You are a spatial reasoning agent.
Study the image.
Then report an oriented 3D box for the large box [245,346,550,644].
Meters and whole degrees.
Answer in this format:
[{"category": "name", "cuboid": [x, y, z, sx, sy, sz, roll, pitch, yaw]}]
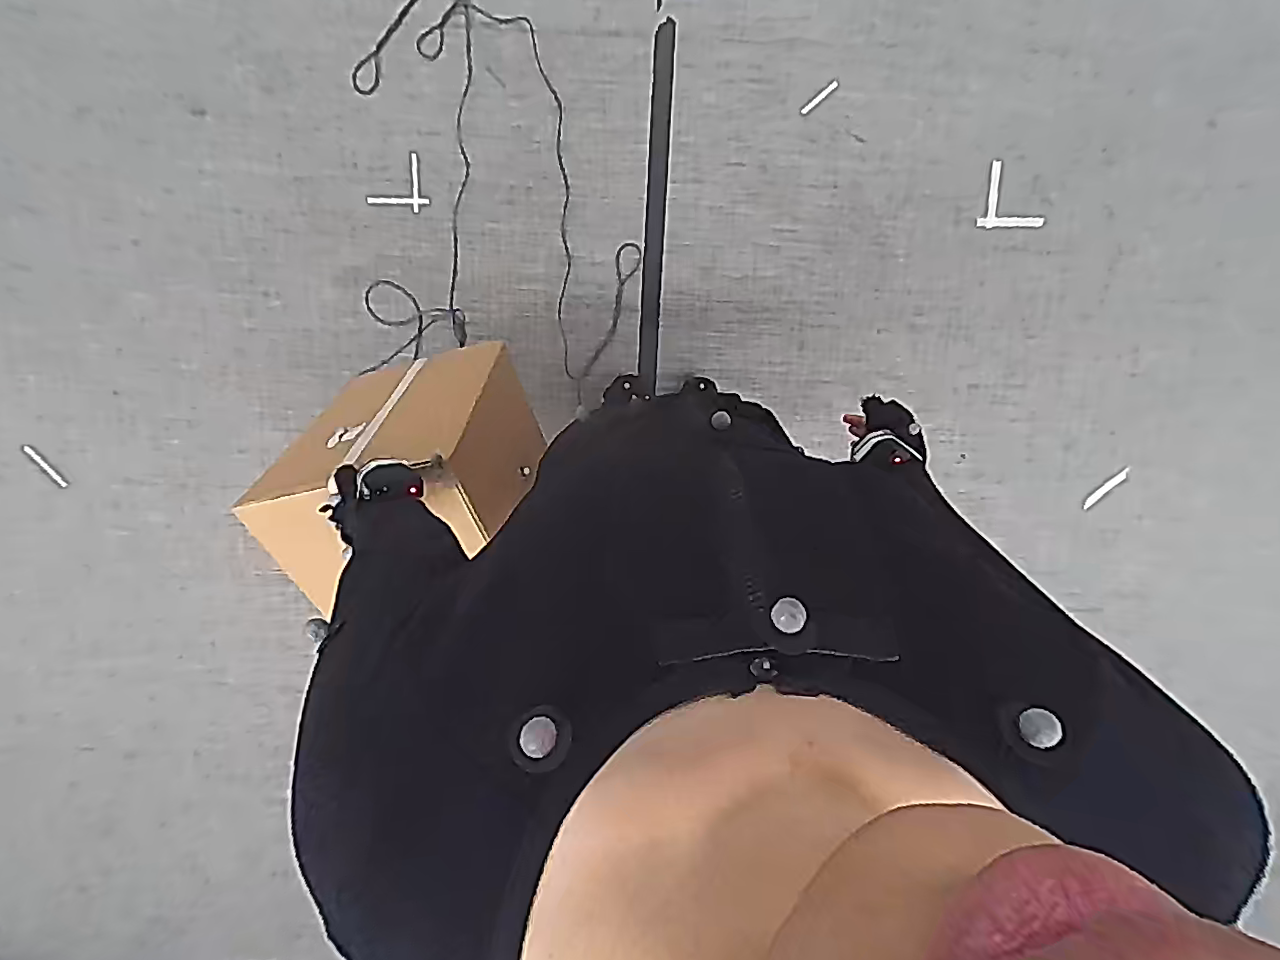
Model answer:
[{"category": "large box", "cuboid": [-0.362, 0.012, 0.954, 0.320, 0.408, 0.320, -13, 126, 7]}]
